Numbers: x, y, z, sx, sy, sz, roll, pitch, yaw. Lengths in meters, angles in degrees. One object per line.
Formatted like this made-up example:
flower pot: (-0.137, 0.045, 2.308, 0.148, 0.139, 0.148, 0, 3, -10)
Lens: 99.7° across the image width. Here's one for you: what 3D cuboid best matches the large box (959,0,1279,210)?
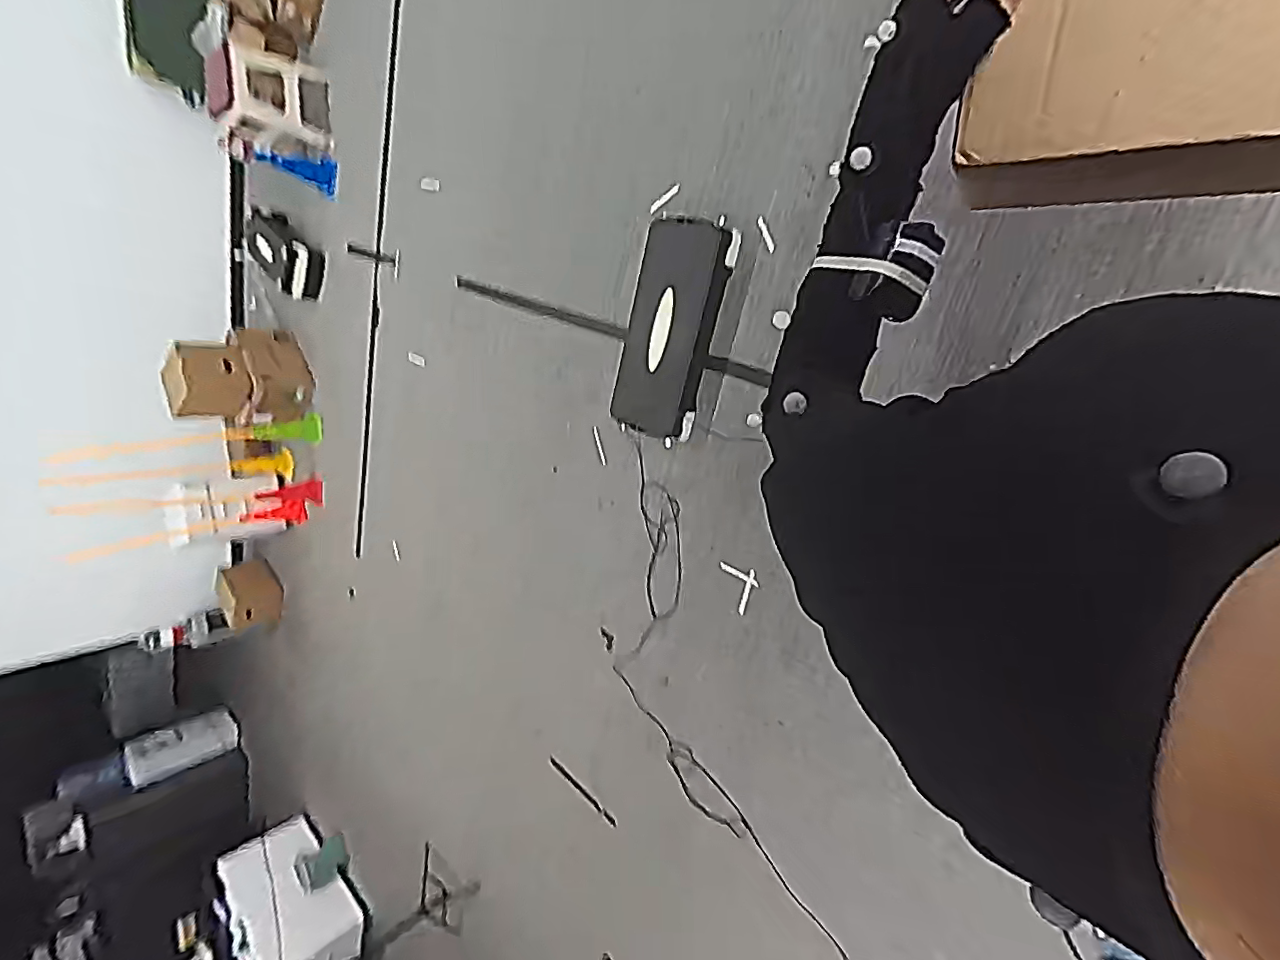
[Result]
large box: (0.471, -0.398, 0.379, 0.408, 0.320, 0.320, 8, 112, 29)
